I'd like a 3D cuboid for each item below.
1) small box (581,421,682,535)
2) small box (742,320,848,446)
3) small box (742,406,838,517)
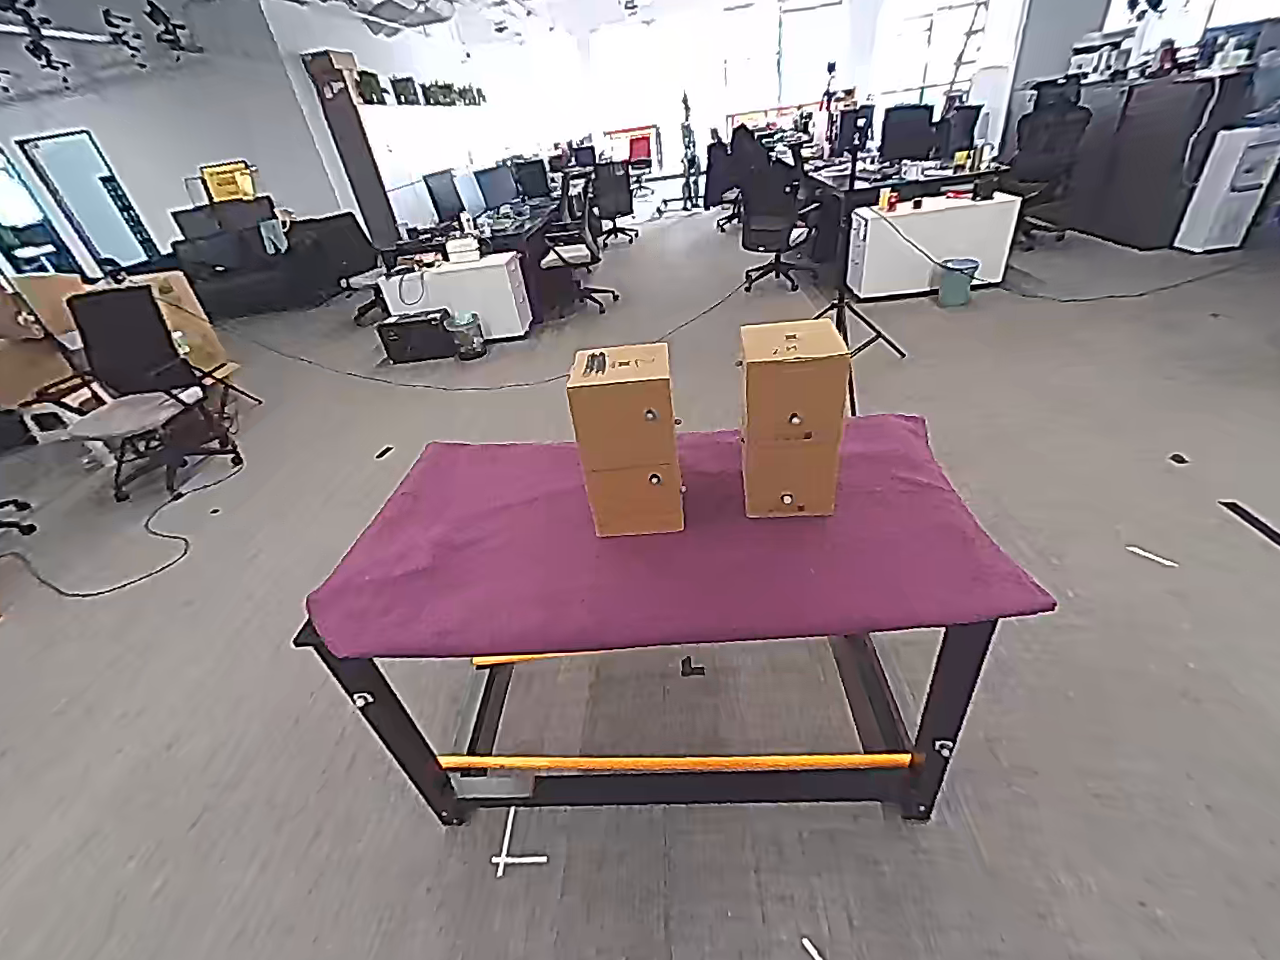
[{"bbox_3d":[-0.010,-0.002,1.096,0.179,0.176,0.168,-4,34,6],"label":"small box"},{"bbox_3d":[0.273,-0.177,0.991,0.168,0.176,0.179,-3,35,9],"label":"small box"},{"bbox_3d":[0.290,-0.042,1.084,0.168,0.176,0.179,-3,35,9],"label":"small box"}]
